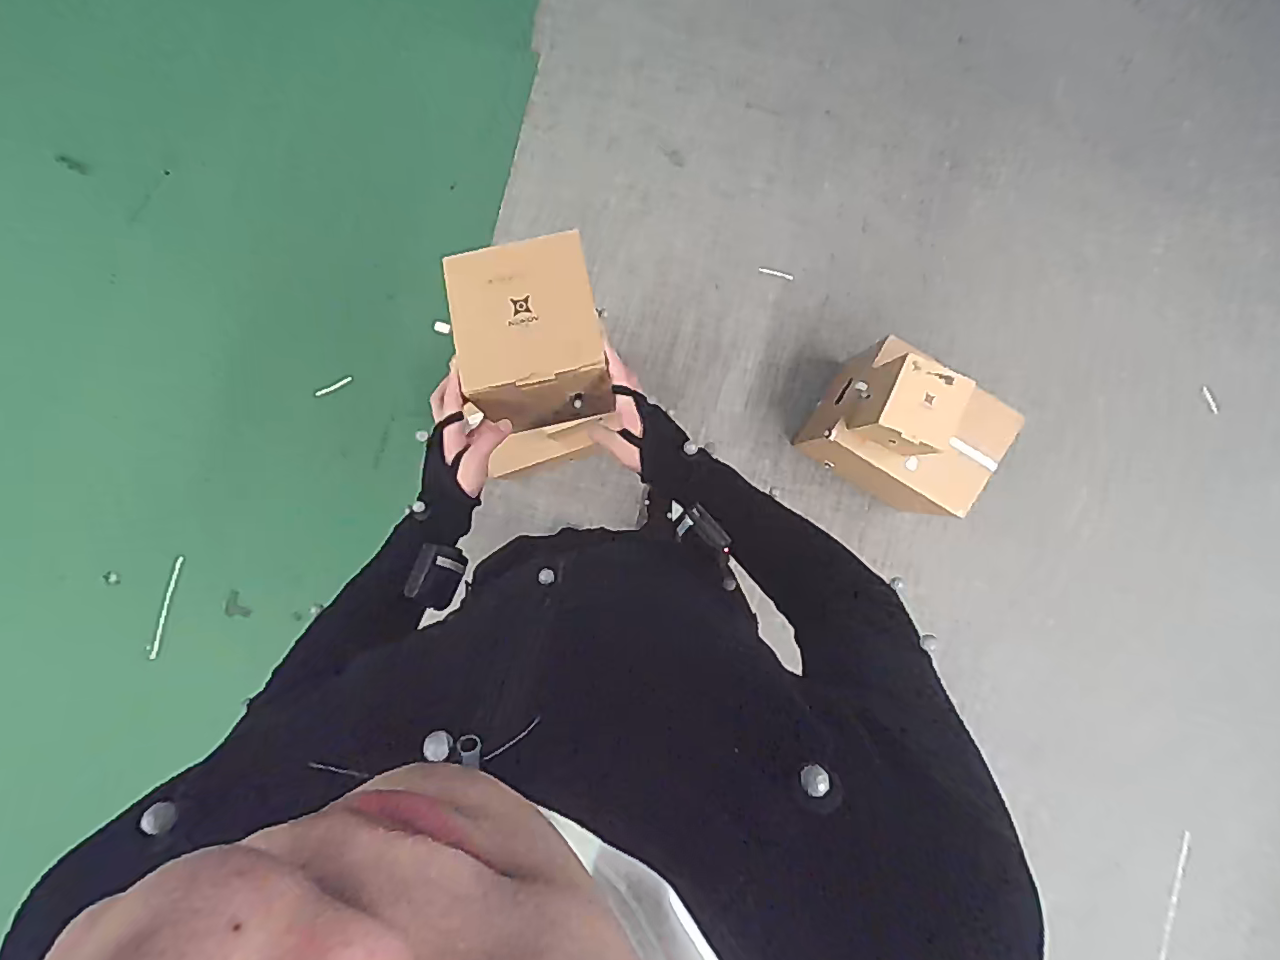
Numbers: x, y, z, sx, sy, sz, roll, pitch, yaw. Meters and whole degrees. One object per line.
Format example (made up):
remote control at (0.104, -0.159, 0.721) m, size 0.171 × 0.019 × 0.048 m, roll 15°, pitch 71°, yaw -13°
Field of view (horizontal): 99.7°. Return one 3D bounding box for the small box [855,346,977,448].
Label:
small box at (0.630, -0.182, 1.260) m, size 0.168 × 0.176 × 0.179 m, roll 24°, pitch 90°, yaw -1°

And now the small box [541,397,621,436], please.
small box at (-0.152, -0.208, 1.249) m, size 0.179 × 0.176 × 0.168 m, roll -20°, pitch 90°, yaw -1°

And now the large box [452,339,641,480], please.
large box at (-0.233, -0.210, 1.496) m, size 0.408 × 0.320 × 0.320 m, roll -20°, pitch 88°, yaw 0°

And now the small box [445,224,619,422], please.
small box at (-0.126, -0.183, 0.686) m, size 0.168 × 0.176 × 0.179 m, roll -11°, pitch 78°, yaw 1°
